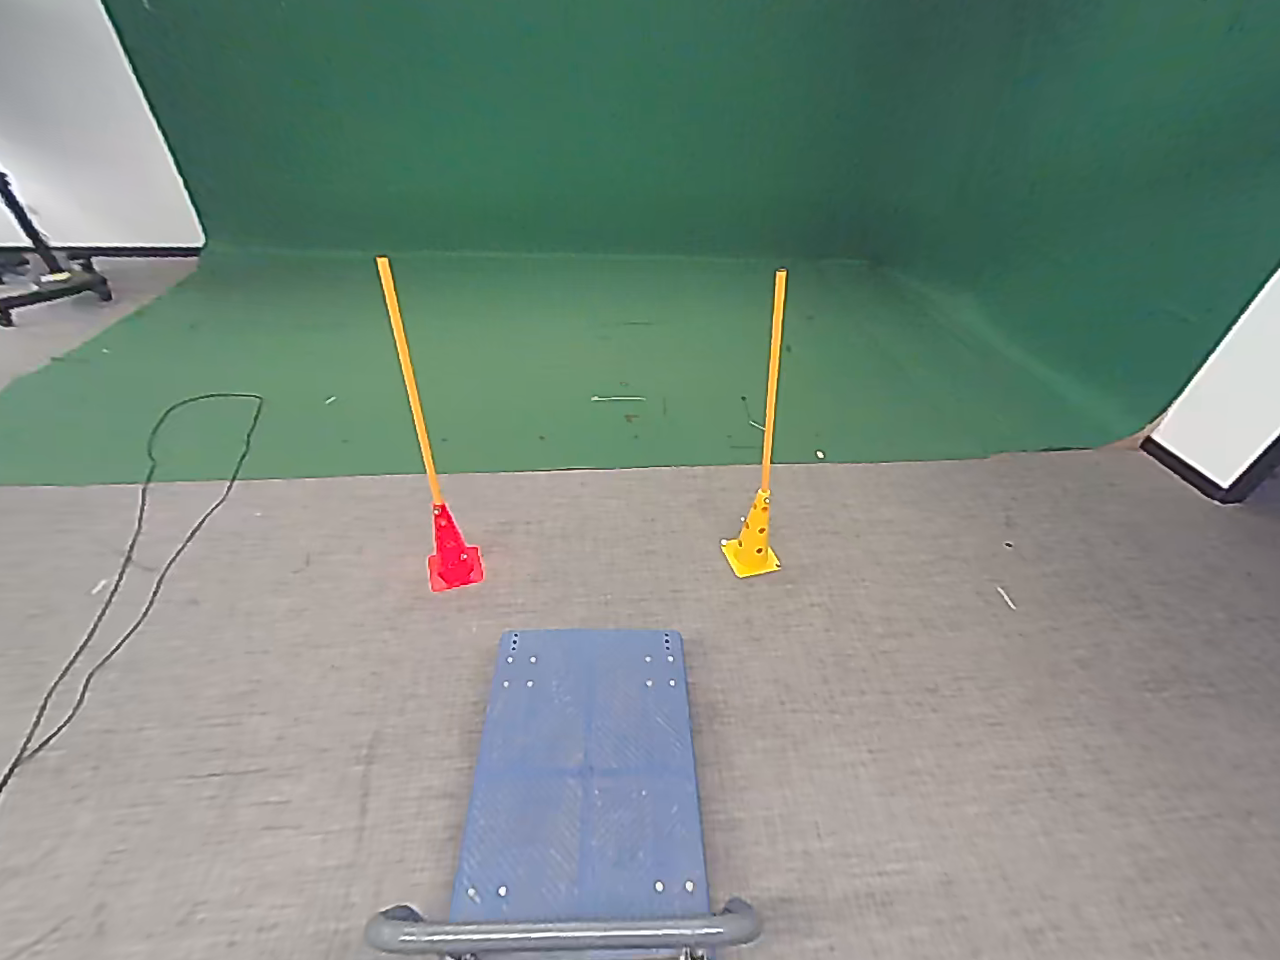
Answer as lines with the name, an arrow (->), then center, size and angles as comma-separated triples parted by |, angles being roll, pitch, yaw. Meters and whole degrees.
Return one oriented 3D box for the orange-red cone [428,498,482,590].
orange-red cone -> -0.723, 0.210, 2.011 | 0.199, 0.360, 0.198 | -12, 42, -16
